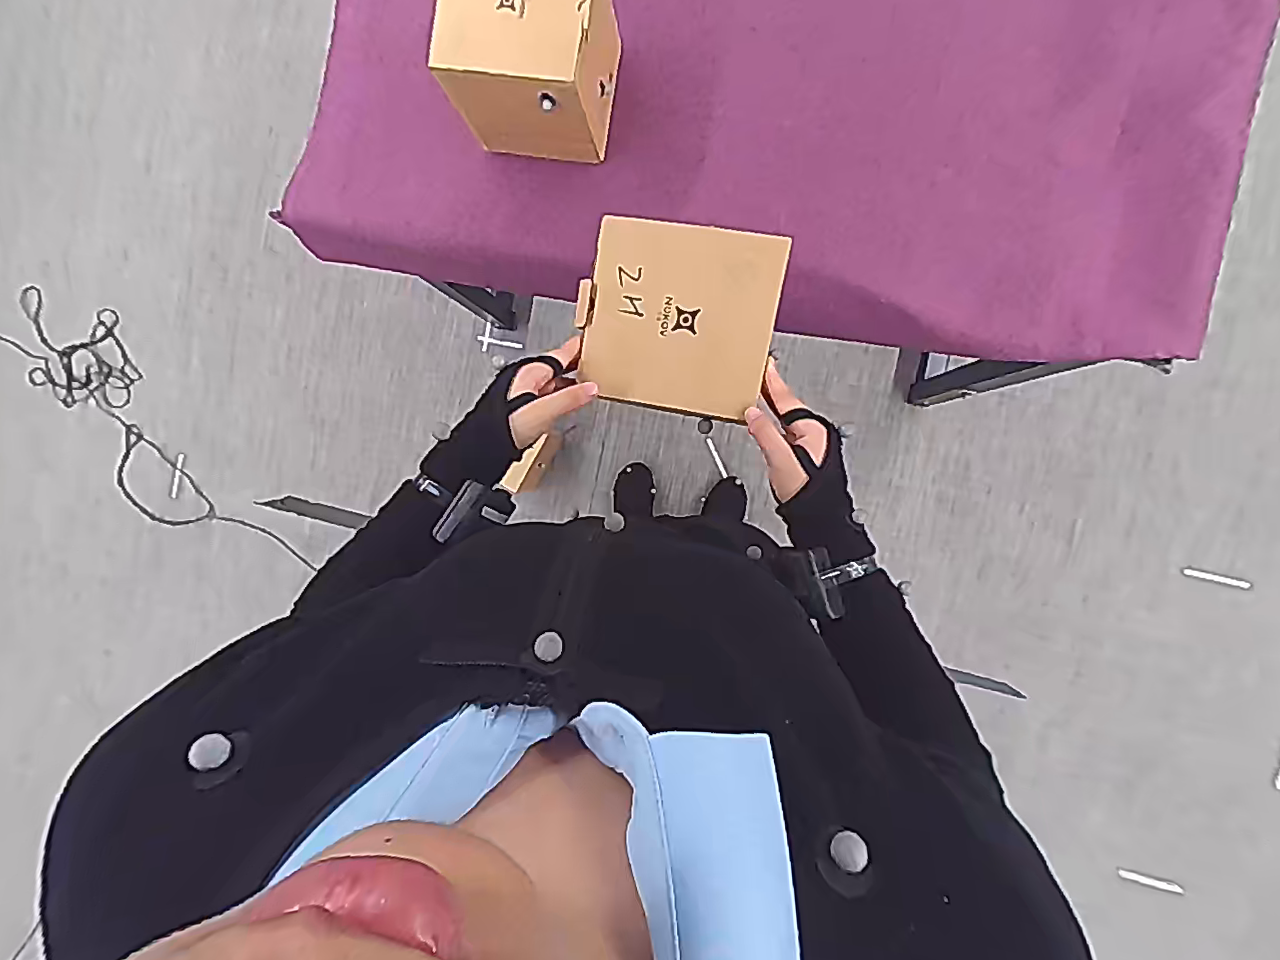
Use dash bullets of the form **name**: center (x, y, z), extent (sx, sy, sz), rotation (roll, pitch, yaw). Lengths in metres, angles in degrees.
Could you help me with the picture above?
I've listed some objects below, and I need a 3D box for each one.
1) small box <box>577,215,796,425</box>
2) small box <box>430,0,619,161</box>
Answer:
- **small box**: center (0.052, -0.155, 0.572), extent (0.179, 0.176, 0.168), rotation (12, 96, 10)
- **small box**: center (-0.133, -0.533, 0.682), extent (0.179, 0.176, 0.168), rotation (9, 92, 5)
